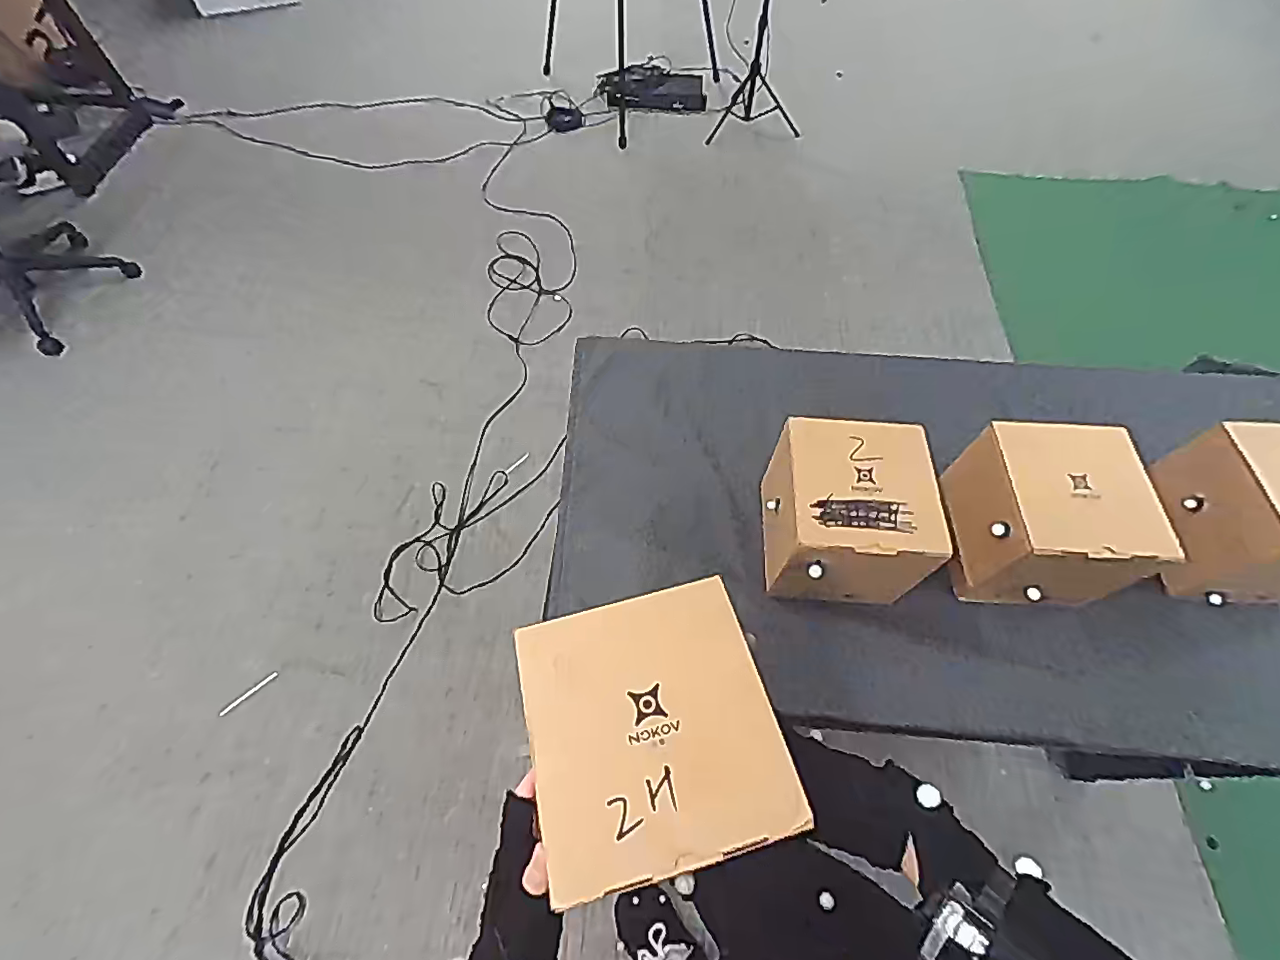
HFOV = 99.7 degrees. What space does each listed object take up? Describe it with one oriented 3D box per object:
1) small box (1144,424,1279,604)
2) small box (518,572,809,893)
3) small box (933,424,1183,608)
[{"bbox_3d":[0.788,0.050,0.690,0.168,0.176,0.179,3,59,1],"label":"small box"},{"bbox_3d":[0.008,0.203,0.435,0.168,0.176,0.179,-13,55,-7],"label":"small box"},{"bbox_3d":[0.505,0.050,0.692,0.168,0.176,0.179,3,60,1],"label":"small box"}]
